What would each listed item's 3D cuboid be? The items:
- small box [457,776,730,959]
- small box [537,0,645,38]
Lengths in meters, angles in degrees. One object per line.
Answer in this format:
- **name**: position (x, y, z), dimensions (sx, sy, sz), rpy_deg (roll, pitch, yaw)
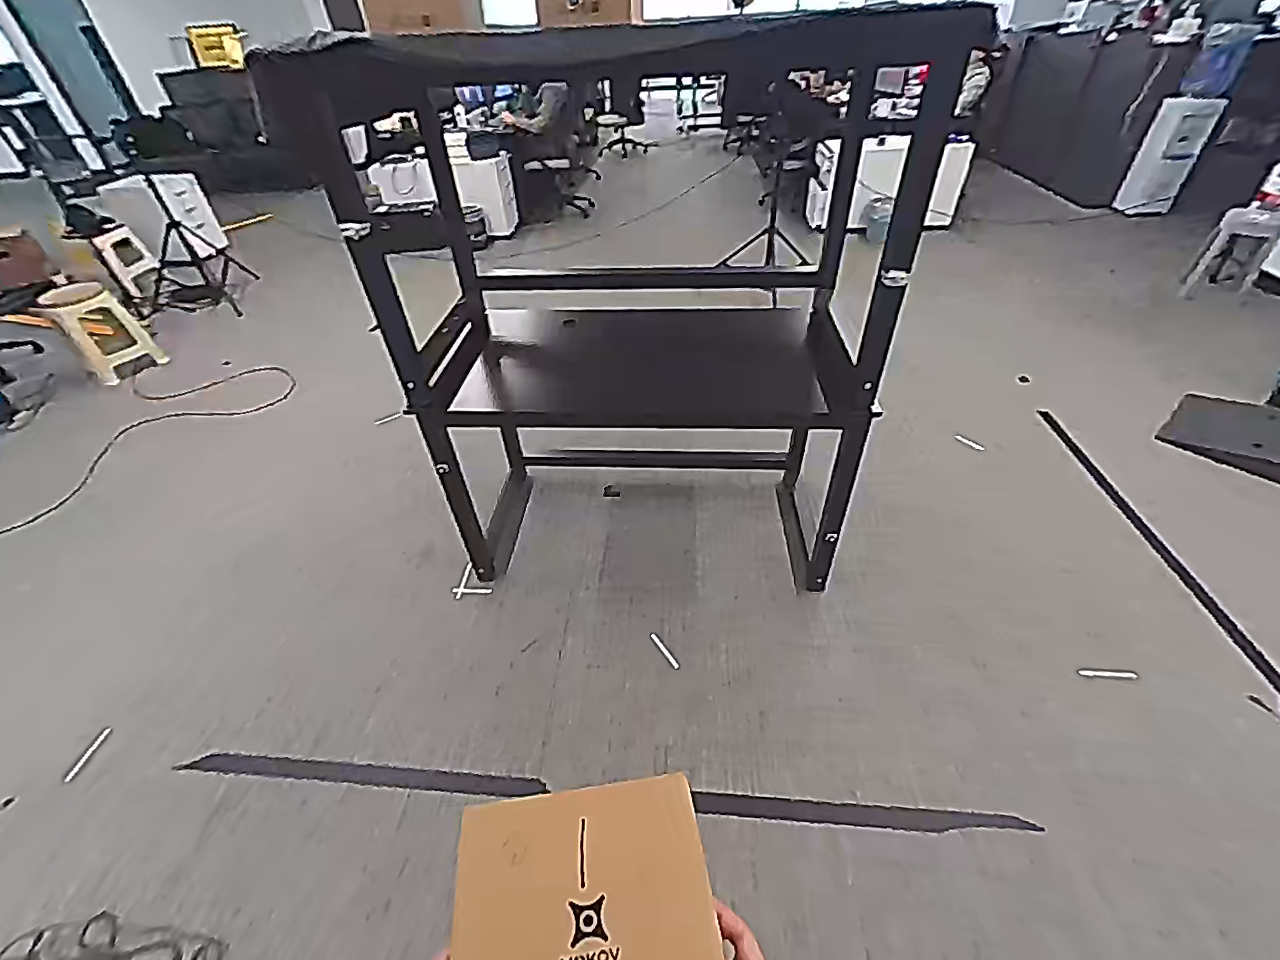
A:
- **small box**: position (-0.030, 0.344, 0.380), dimensions (0.168, 0.176, 0.179), rpy_deg (-4, 38, -8)
- **small box**: position (-0.083, -0.855, 0.909), dimensions (0.168, 0.176, 0.179), rpy_deg (2, 40, 7)
